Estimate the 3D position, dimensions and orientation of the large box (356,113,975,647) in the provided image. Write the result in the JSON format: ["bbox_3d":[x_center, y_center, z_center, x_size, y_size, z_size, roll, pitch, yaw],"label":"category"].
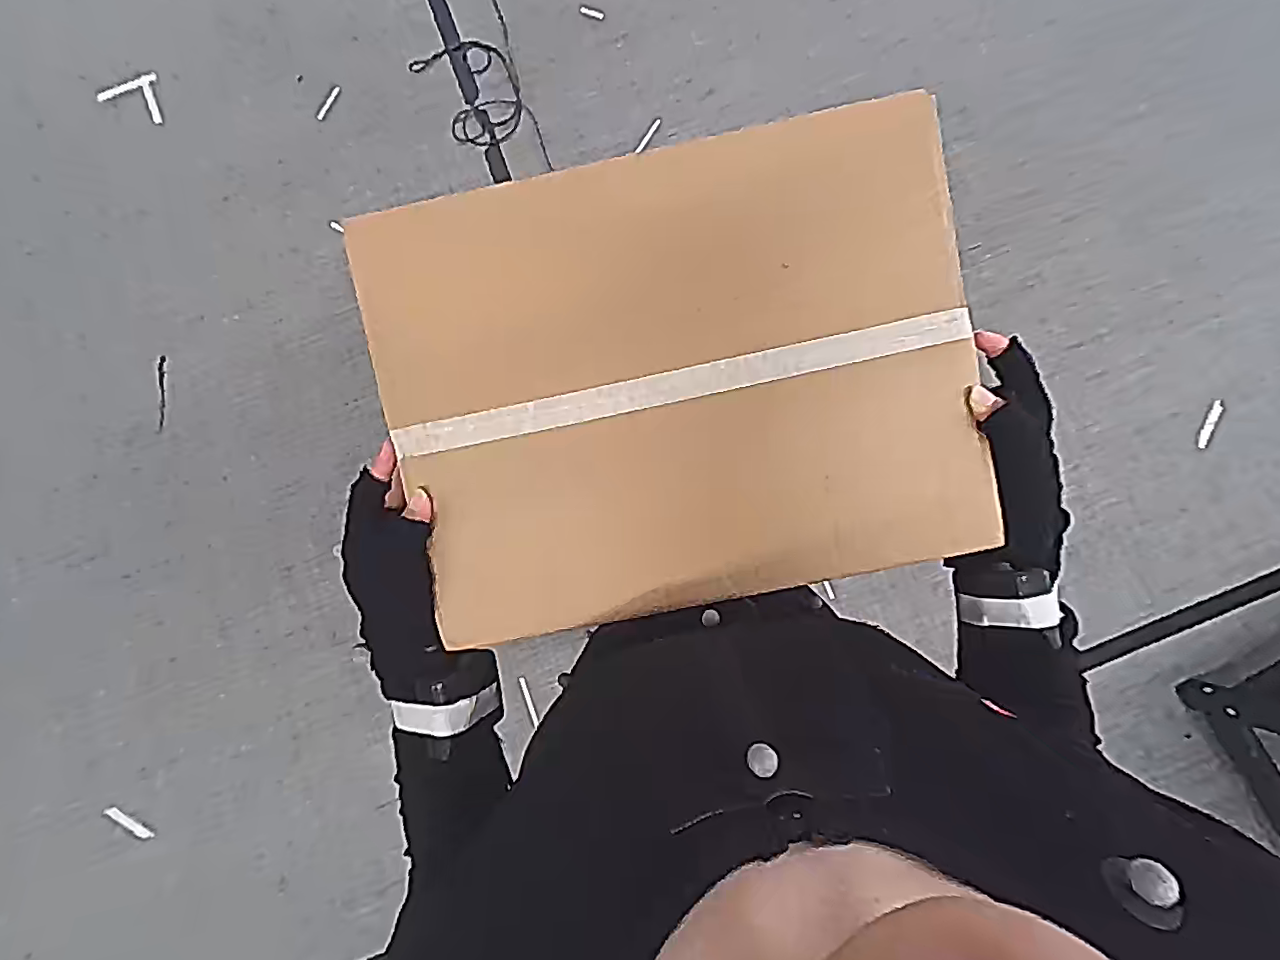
[{"bbox_3d":[0.025,-0.076,0.535,0.408,0.320,0.320,-11,94,2],"label":"large box"}]
